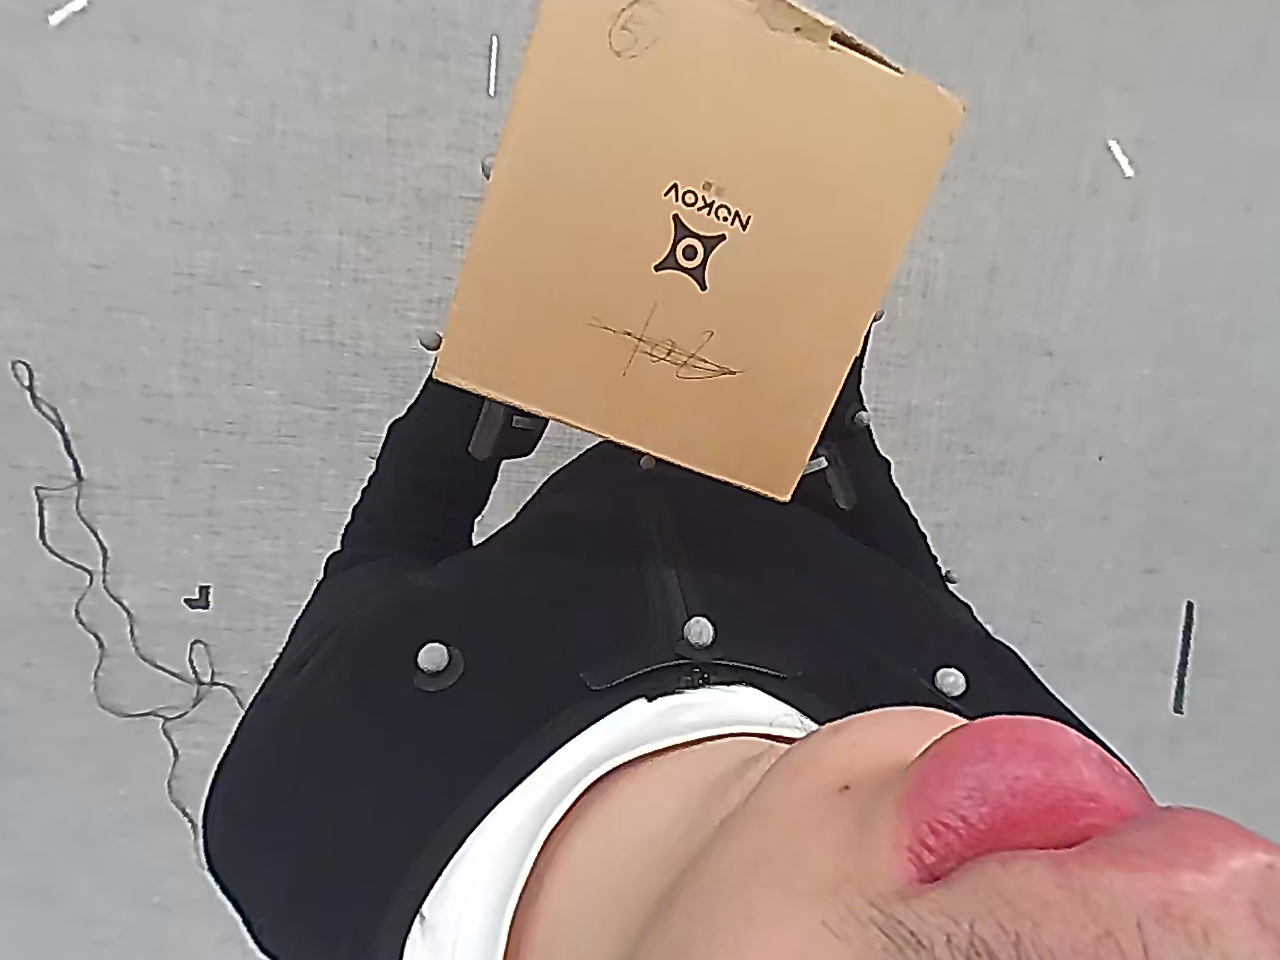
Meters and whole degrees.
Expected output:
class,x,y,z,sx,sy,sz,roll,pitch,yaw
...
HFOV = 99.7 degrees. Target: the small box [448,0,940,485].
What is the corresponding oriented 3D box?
class,x,y,z,sx,sy,sz,roll,pitch,yaw
small box,0.015,-0.122,0.306,0.168,0.176,0.179,19,103,-8
